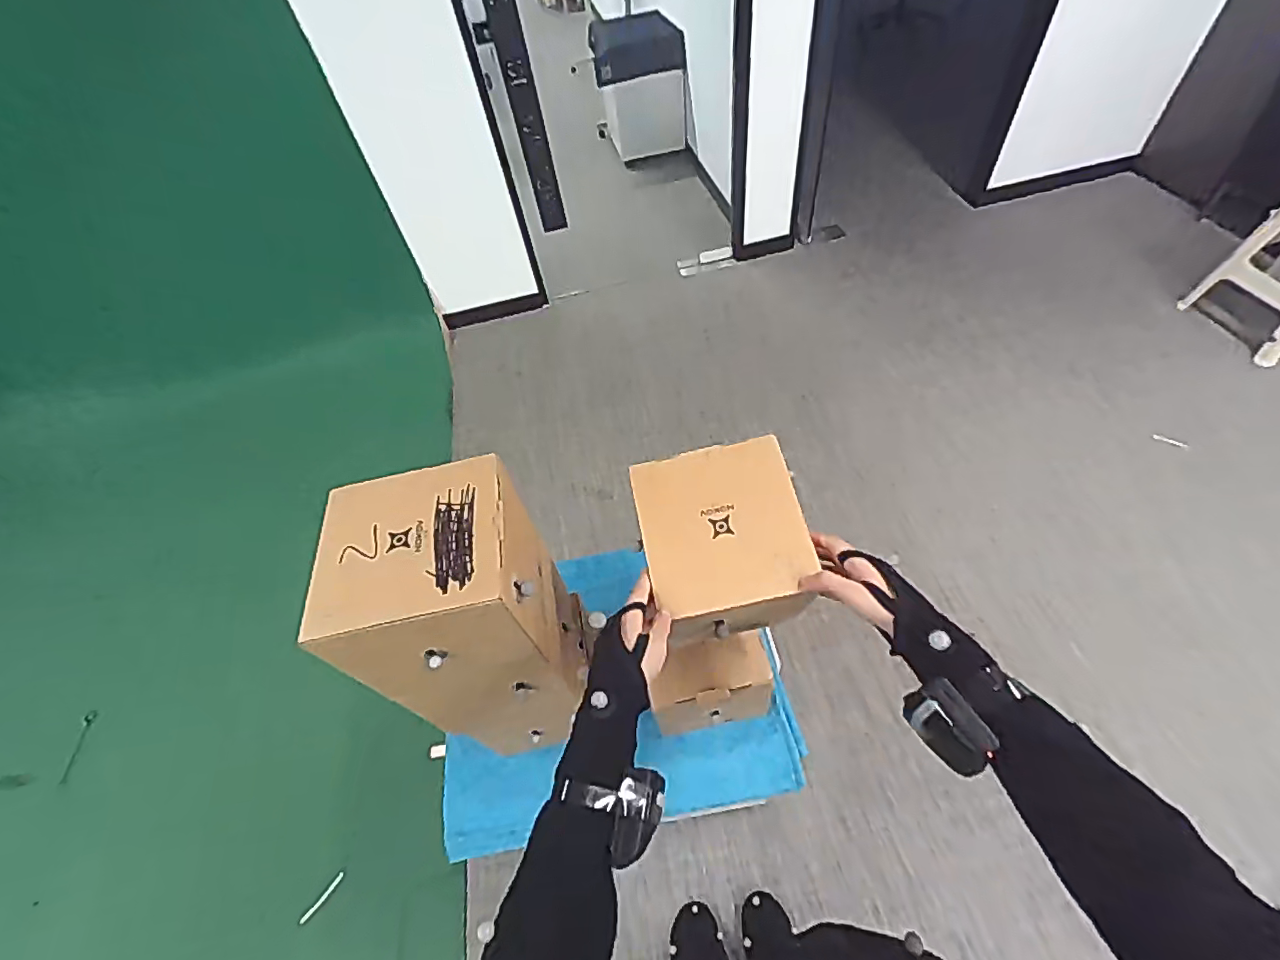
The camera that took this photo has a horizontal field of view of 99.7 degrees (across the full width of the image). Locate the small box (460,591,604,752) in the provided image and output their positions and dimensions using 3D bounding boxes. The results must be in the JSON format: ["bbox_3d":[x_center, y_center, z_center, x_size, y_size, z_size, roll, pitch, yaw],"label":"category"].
[{"bbox_3d":[-0.154,0.292,0.813,0.179,0.176,0.168,-13,52,-1],"label":"small box"}]

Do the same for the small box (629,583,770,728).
[{"bbox_3d":[0.086,0.255,0.806,0.168,0.176,0.179,-12,53,-1],"label":"small box"}]

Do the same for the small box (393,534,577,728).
[{"bbox_3d":[-0.182,0.195,0.682,0.179,0.176,0.168,-13,52,-1],"label":"small box"}]

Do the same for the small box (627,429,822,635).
[{"bbox_3d":[0.090,0.071,0.618,0.168,0.176,0.179,-13,63,2],"label":"small box"}]
